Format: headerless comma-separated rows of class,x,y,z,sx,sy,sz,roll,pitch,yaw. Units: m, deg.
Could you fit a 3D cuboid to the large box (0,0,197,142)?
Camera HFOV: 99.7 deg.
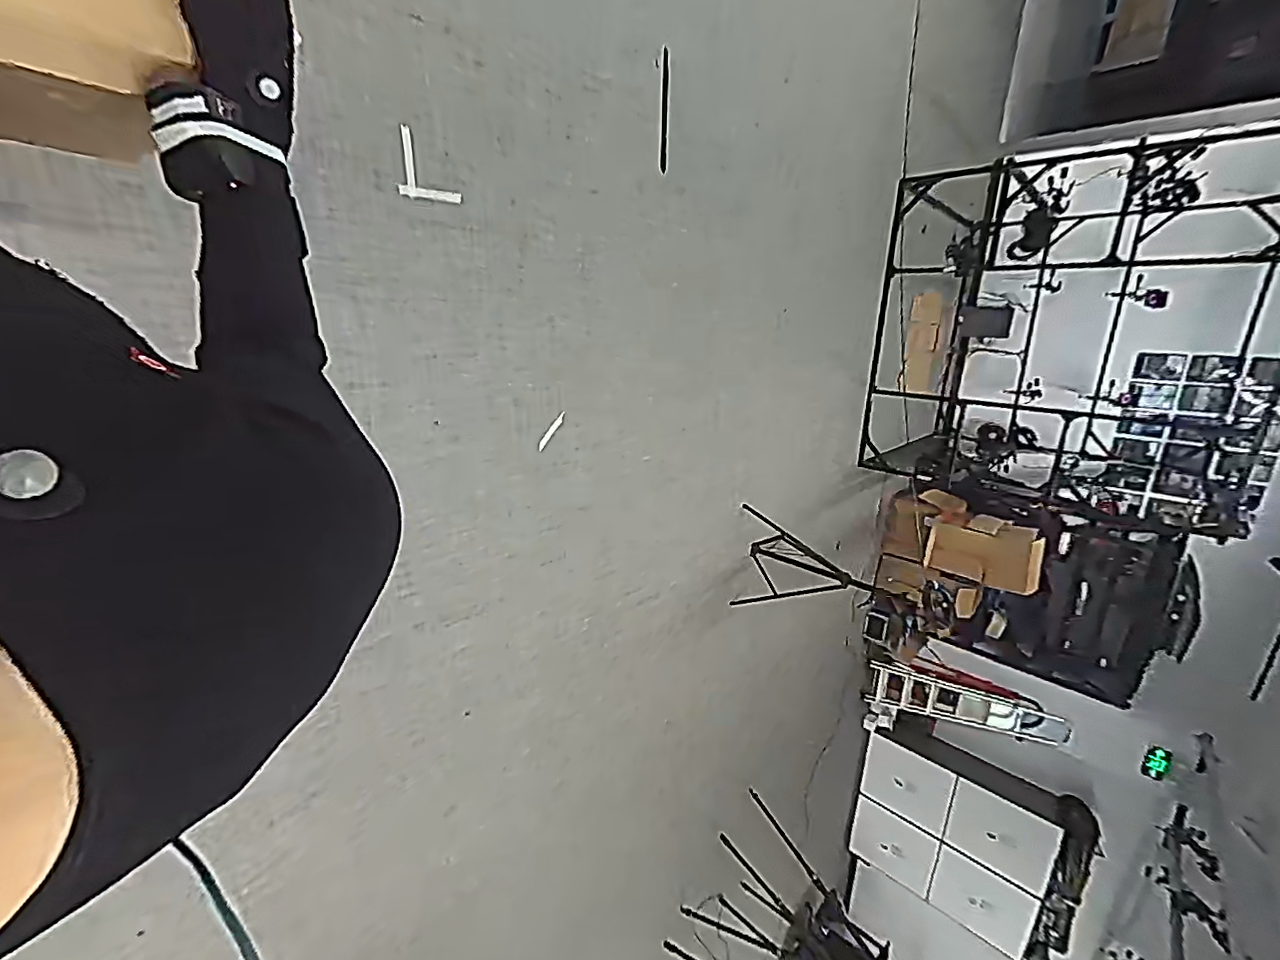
large box,-0.572,-0.440,0.315,0.408,0.320,0.320,-16,117,-48
